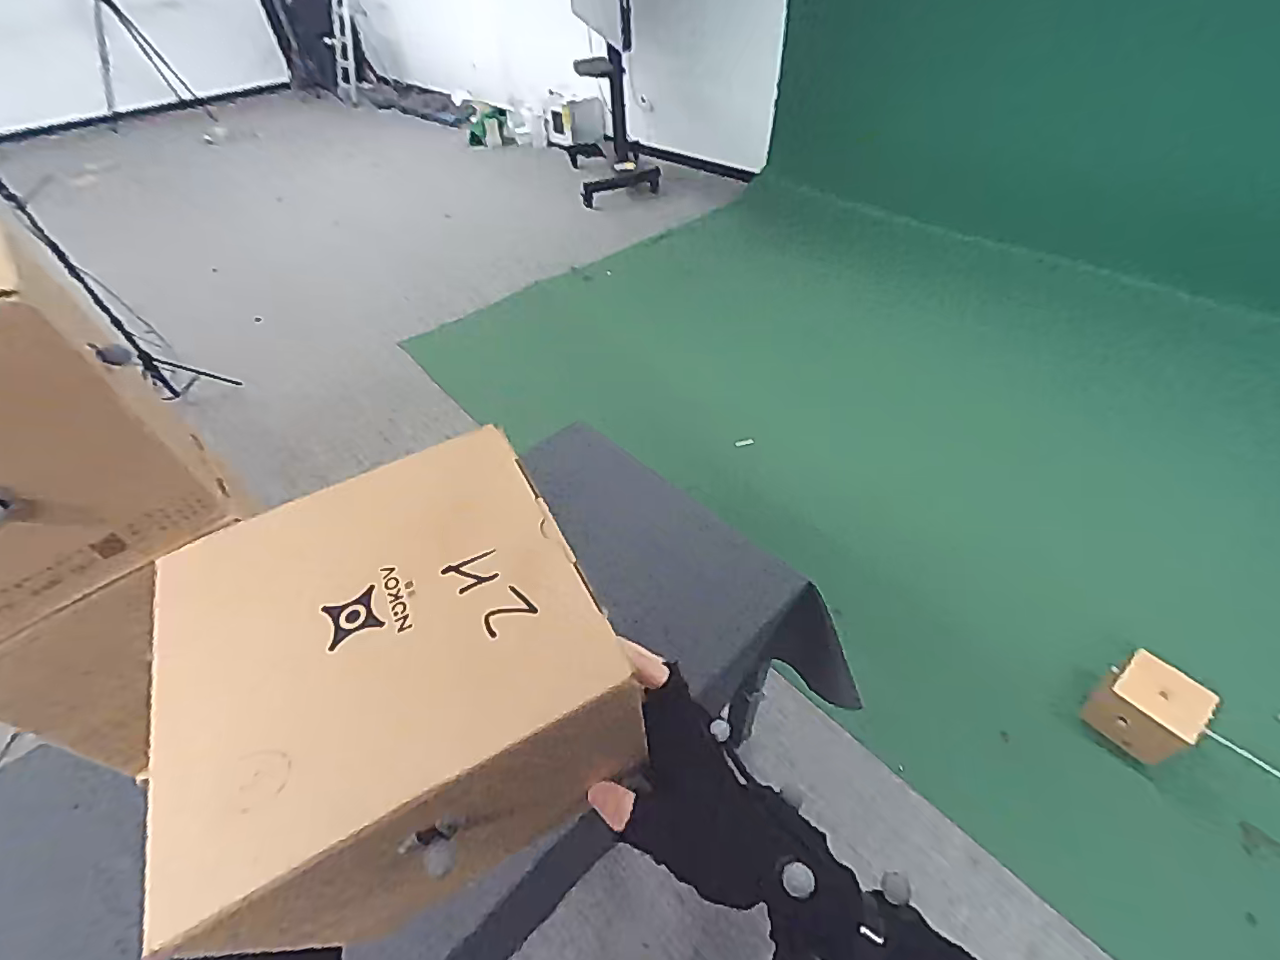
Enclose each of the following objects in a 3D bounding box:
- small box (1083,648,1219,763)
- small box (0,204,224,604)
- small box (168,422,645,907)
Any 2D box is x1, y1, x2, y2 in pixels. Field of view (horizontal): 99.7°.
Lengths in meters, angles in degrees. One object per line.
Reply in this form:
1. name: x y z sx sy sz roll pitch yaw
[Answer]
1. small box: 1.259 0.564 1.347 0.179 0.176 0.168 -31 52 -24
2. small box: -0.409 -0.041 0.337 0.168 0.176 0.179 -36 54 -27
3. small box: -0.109 0.103 0.306 0.179 0.176 0.168 -24 52 -16
